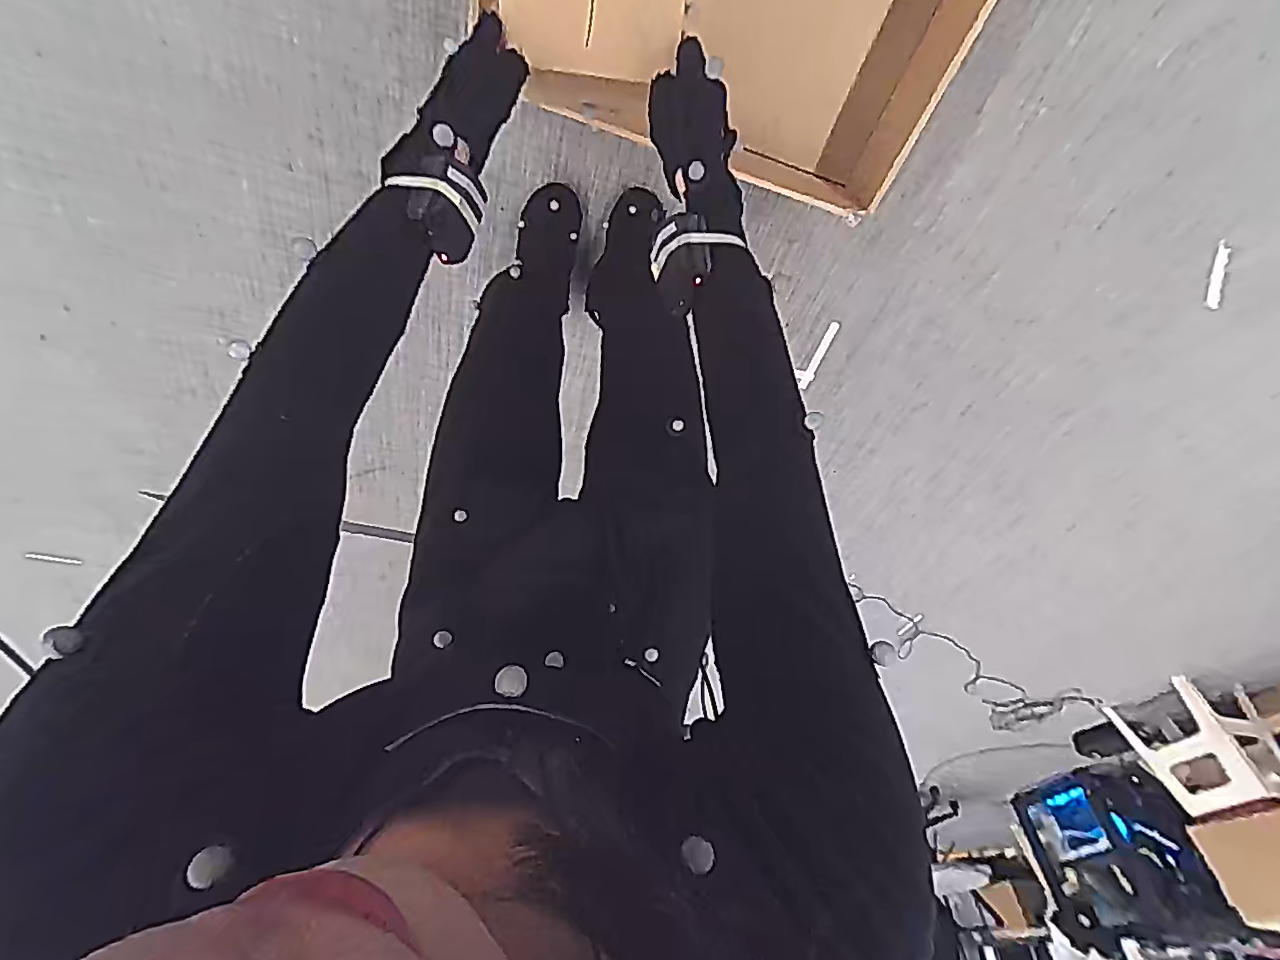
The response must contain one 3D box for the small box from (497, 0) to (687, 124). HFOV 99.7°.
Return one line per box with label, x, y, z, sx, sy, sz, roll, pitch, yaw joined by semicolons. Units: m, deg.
small box;-0.039;-0.476;0.529;0.168;0.176;0.179;5;114;-3
